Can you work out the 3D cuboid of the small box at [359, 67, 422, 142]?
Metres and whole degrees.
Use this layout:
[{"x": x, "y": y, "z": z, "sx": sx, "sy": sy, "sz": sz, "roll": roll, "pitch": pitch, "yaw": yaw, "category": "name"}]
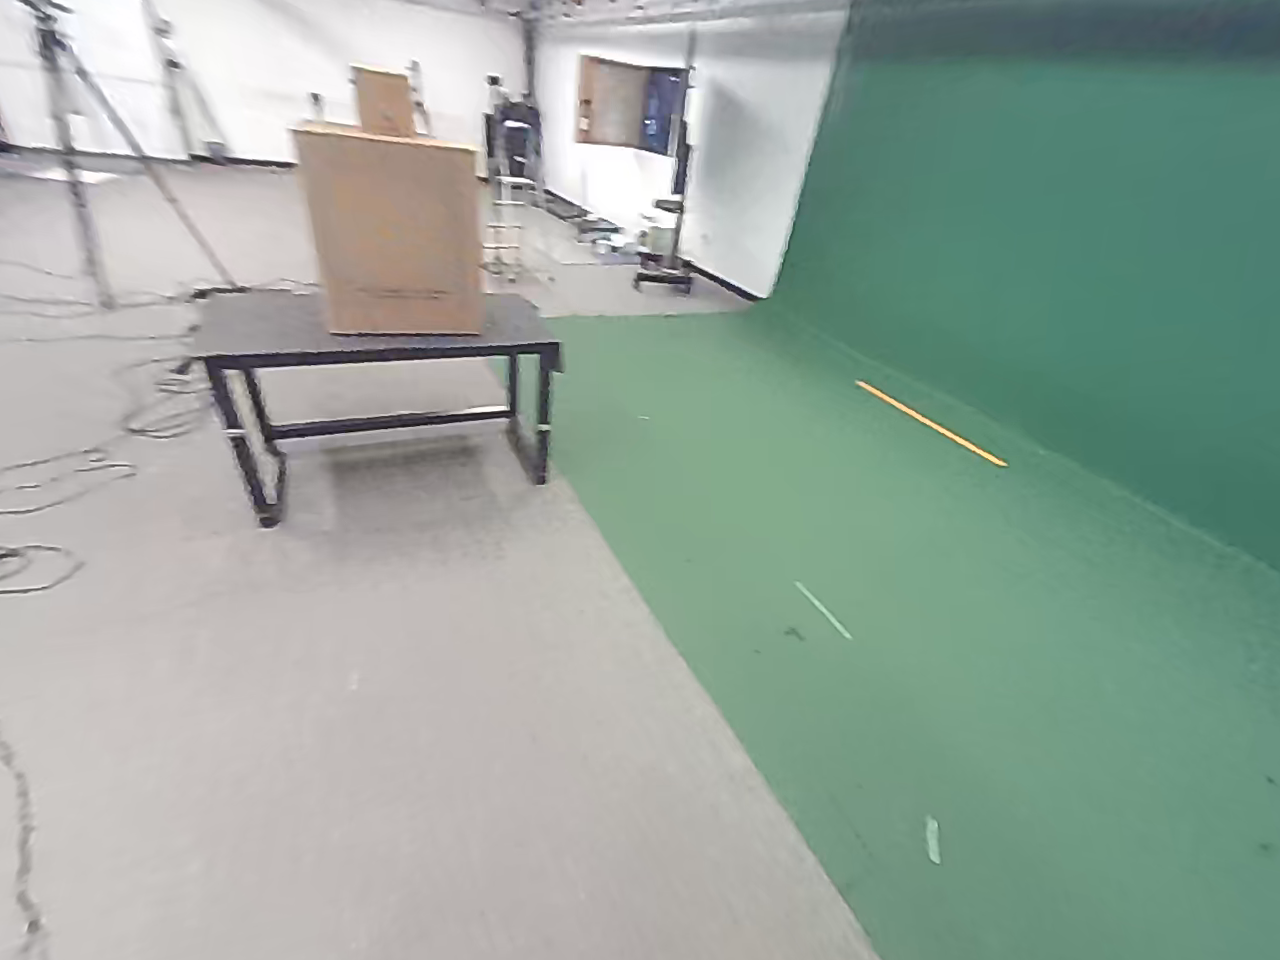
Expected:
[{"x": -0.795, "y": -1.200, "z": 1.728, "sx": 0.168, "sy": 0.176, "sz": 0.179, "roll": -6, "pitch": 39, "yaw": -22, "category": "small box"}]
